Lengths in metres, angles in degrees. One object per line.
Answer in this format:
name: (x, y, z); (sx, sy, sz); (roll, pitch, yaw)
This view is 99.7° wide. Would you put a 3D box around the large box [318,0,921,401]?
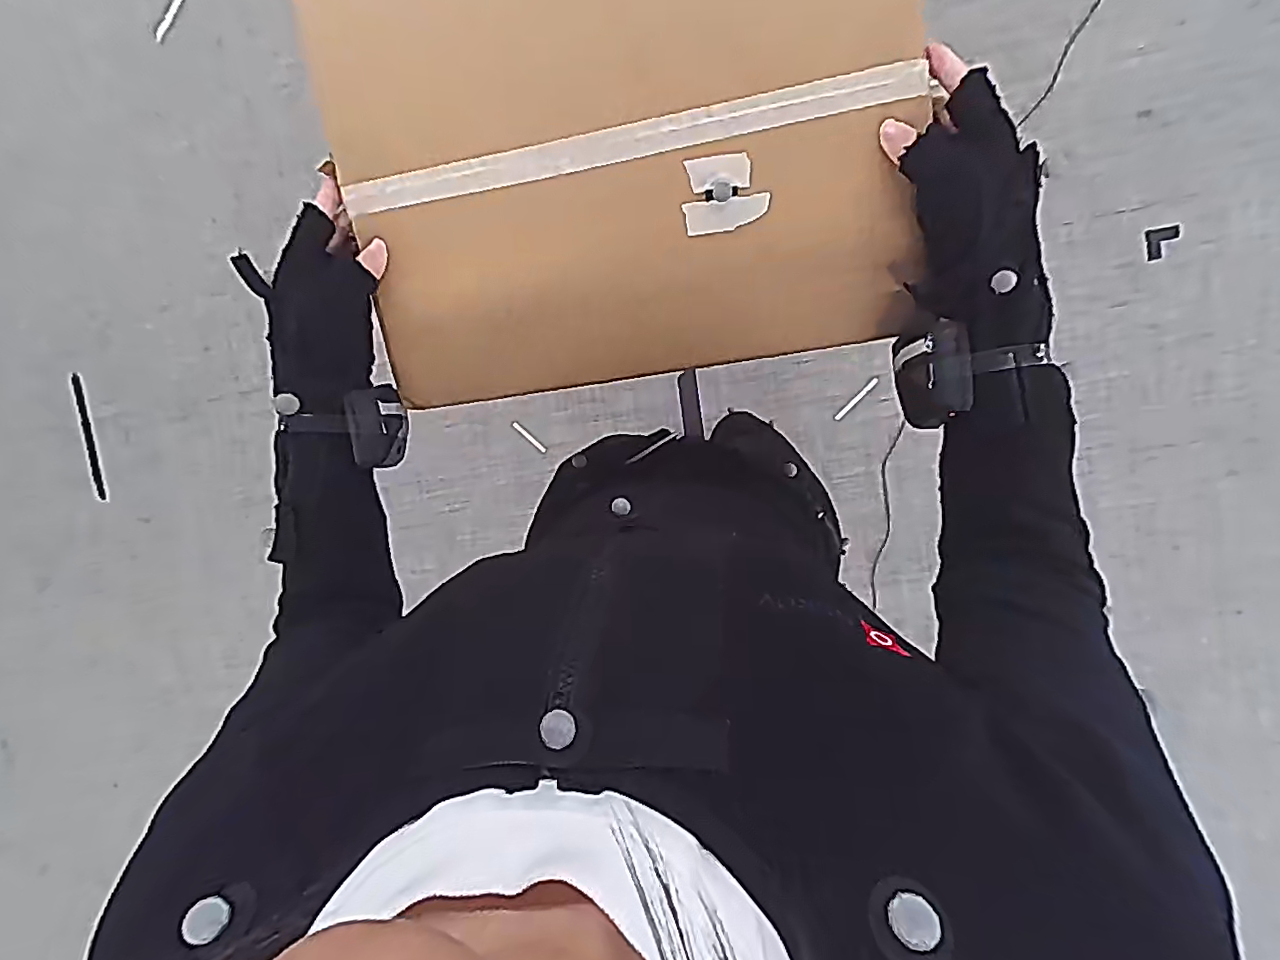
large box: (0.000, -0.275, 0.532); (0.408, 0.320, 0.320); (-8, 104, 7)
